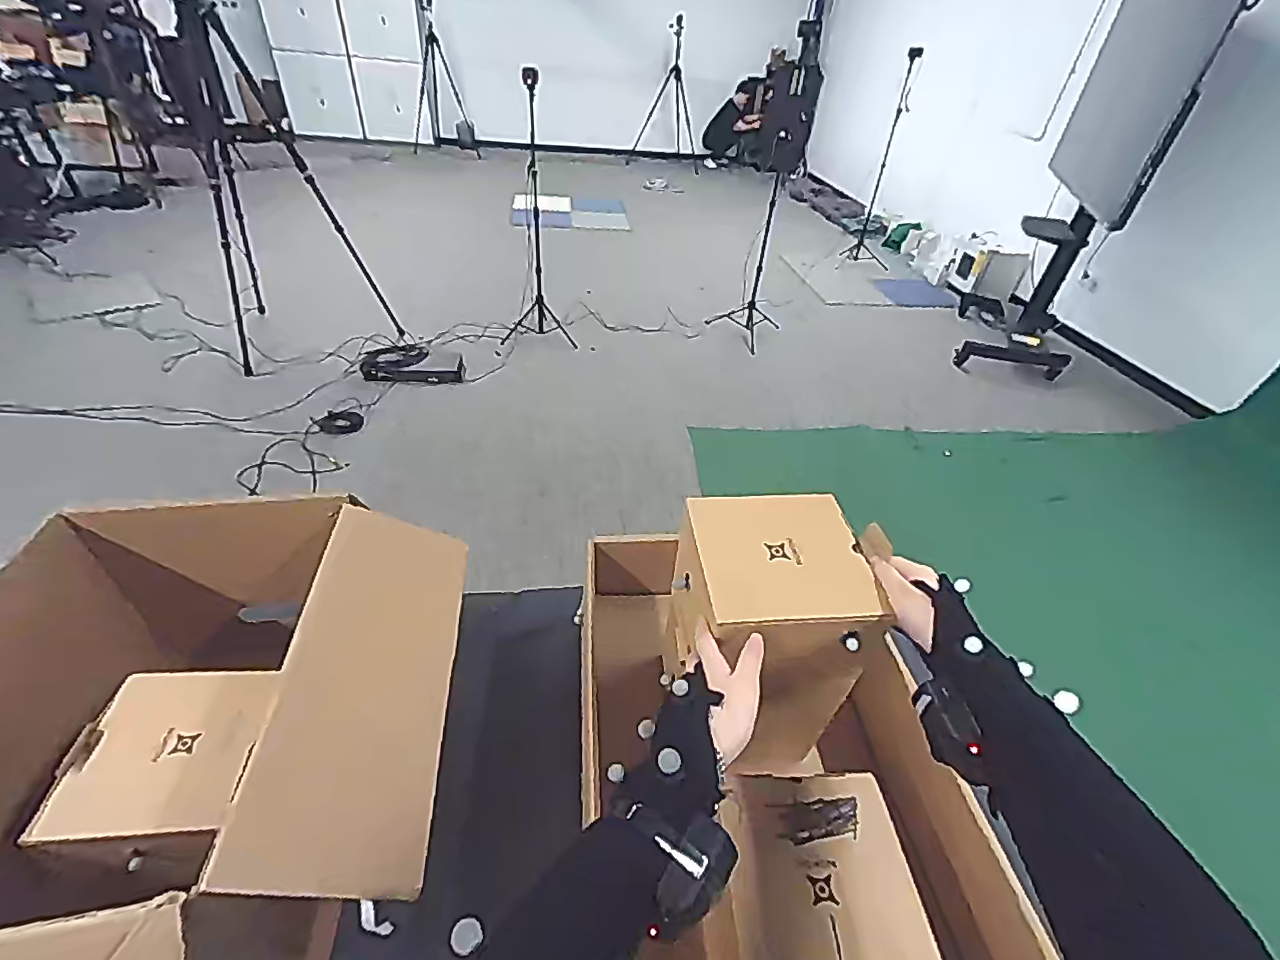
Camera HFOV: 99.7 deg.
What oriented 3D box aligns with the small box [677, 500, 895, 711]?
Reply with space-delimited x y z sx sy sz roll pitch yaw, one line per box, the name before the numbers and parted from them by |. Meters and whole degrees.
small box | 0.140 0.140 0.603 0.179 0.176 0.168 -1 42 -7
